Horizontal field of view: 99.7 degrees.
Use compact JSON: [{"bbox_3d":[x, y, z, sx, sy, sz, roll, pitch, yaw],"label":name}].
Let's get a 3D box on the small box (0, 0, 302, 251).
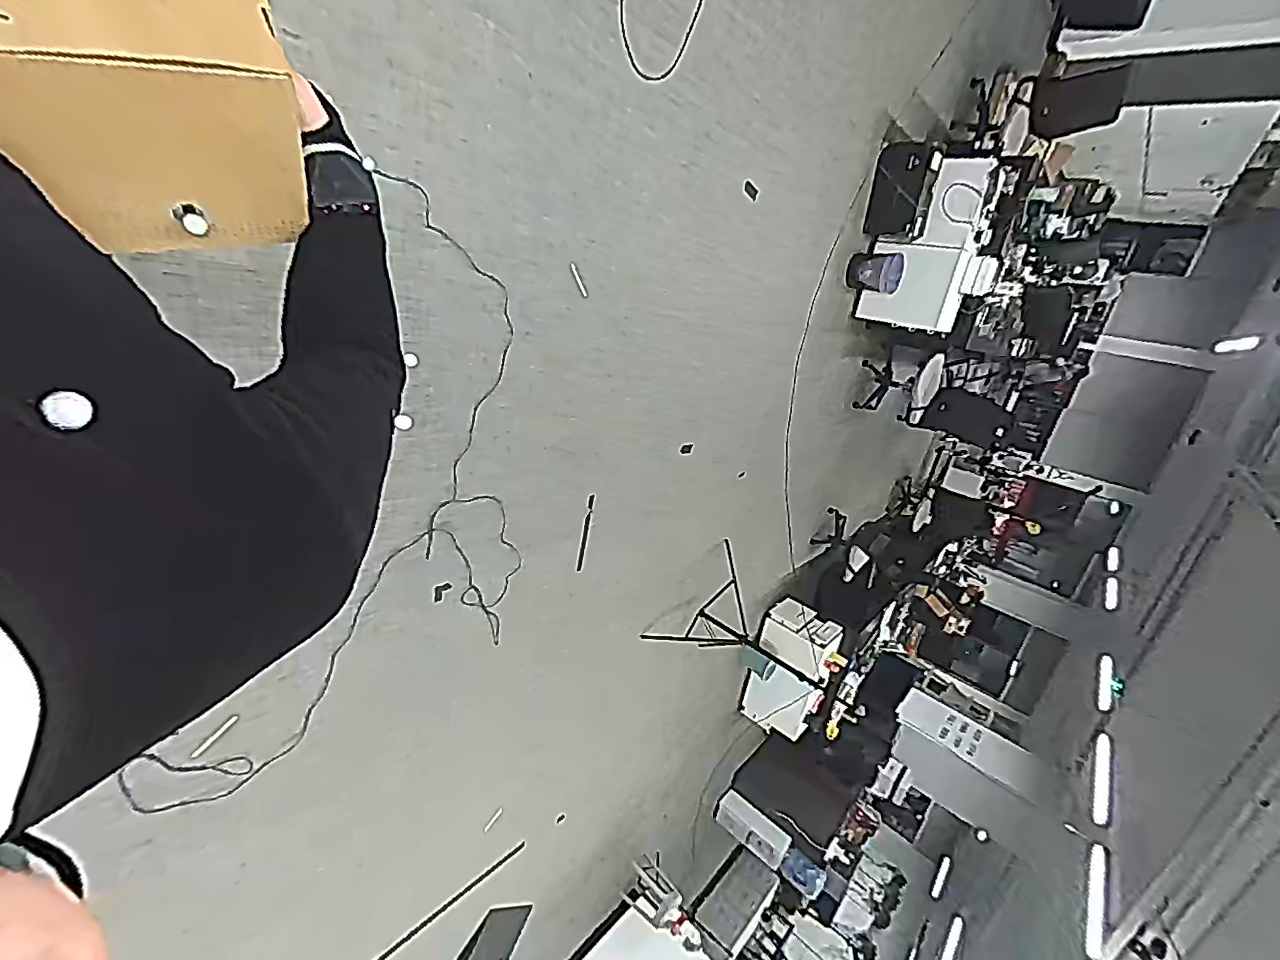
[{"bbox_3d":[-0.387,-0.306,0.425,0.179,0.168,0.176,-21,172,-32],"label":"small box"}]
